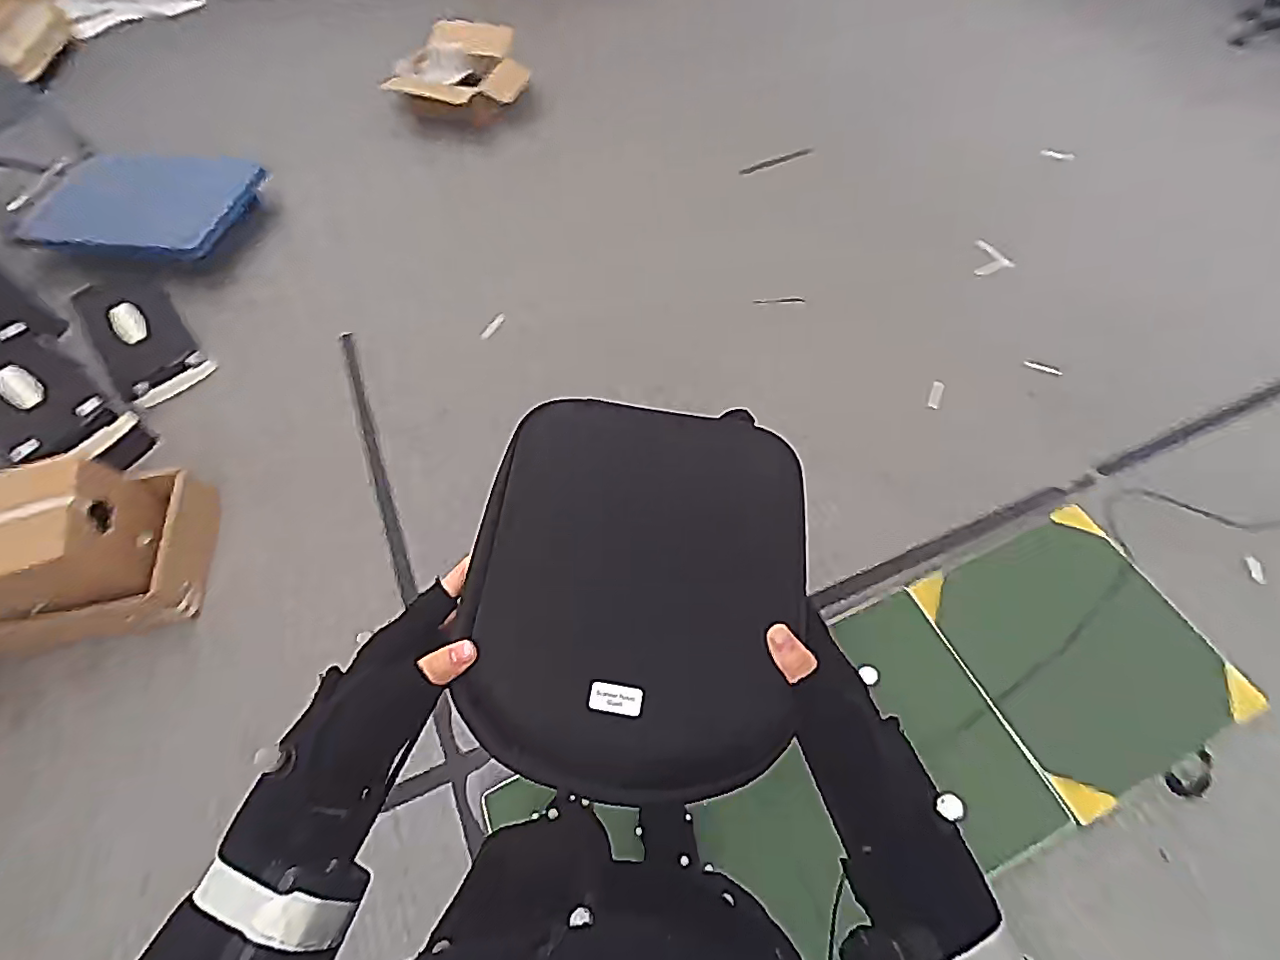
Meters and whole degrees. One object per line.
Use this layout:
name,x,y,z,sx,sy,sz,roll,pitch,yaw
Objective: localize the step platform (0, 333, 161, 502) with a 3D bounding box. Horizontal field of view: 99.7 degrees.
step platform,-1.950,-0.221,1.798,0.684,0.204,0.286,32,66,18
